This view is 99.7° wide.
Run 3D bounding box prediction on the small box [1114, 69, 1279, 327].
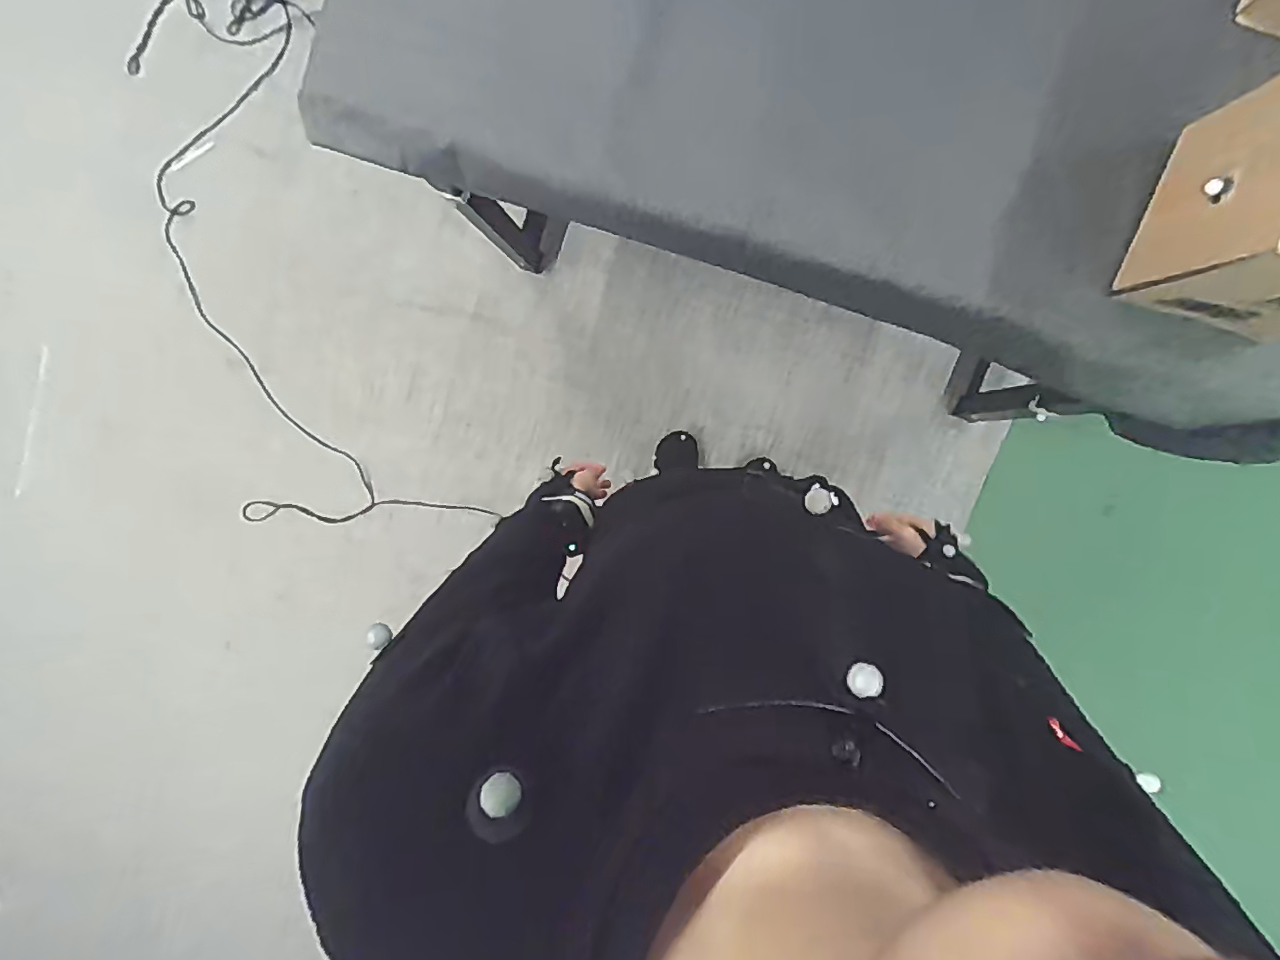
[{"bbox_3d":[0.587,-0.247,0.465,0.168,0.179,0.176,18,101,4],"label":"small box"}]
